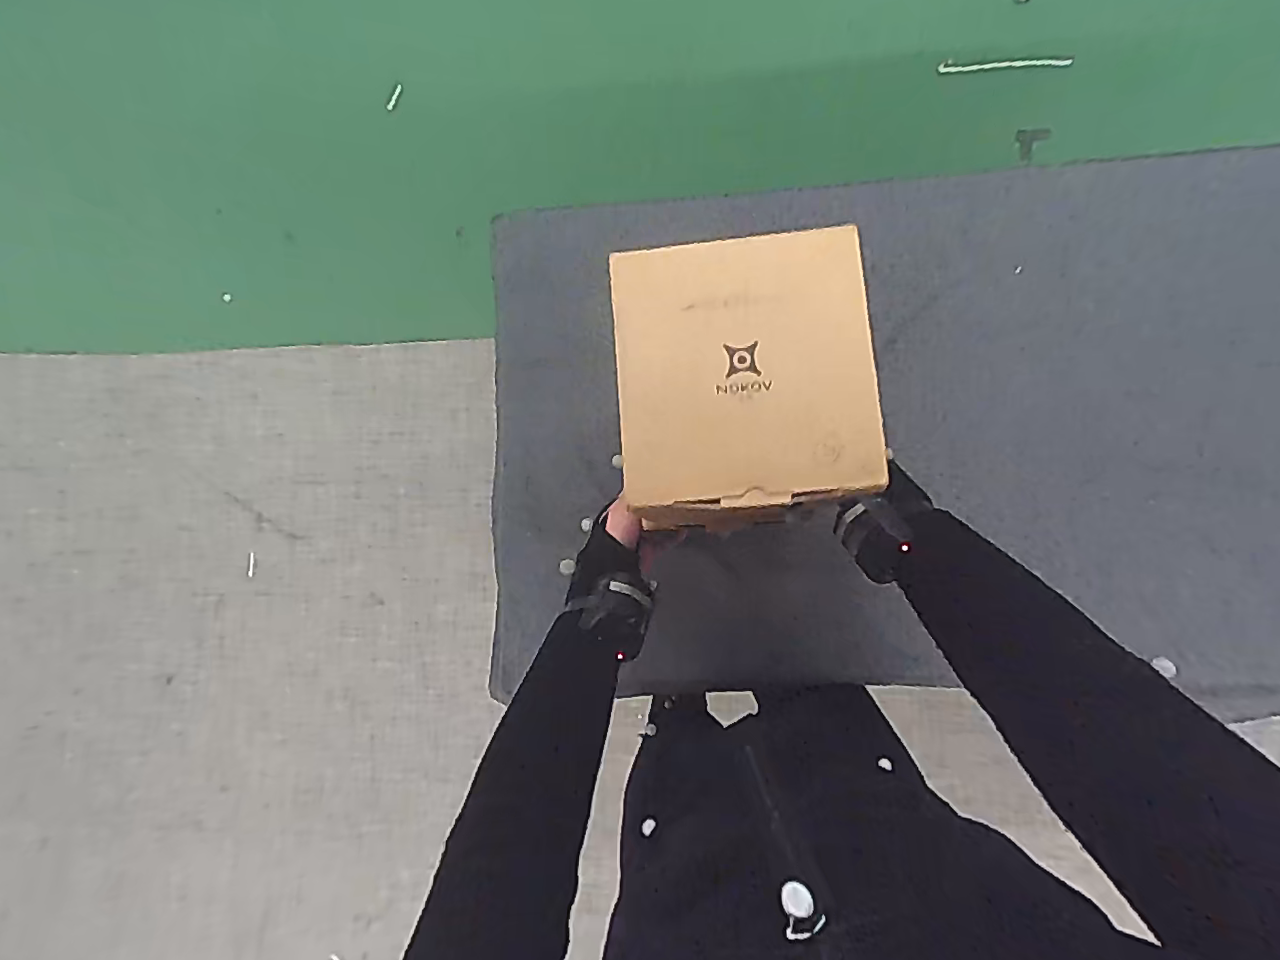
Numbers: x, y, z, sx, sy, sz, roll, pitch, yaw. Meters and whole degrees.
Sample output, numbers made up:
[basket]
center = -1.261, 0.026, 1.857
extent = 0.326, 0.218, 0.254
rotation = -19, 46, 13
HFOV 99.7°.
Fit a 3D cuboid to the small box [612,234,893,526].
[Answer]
[small box]
center = 0.075, -0.057, 0.427
extent = 0.168, 0.176, 0.179
rotation = -6, 81, 4
